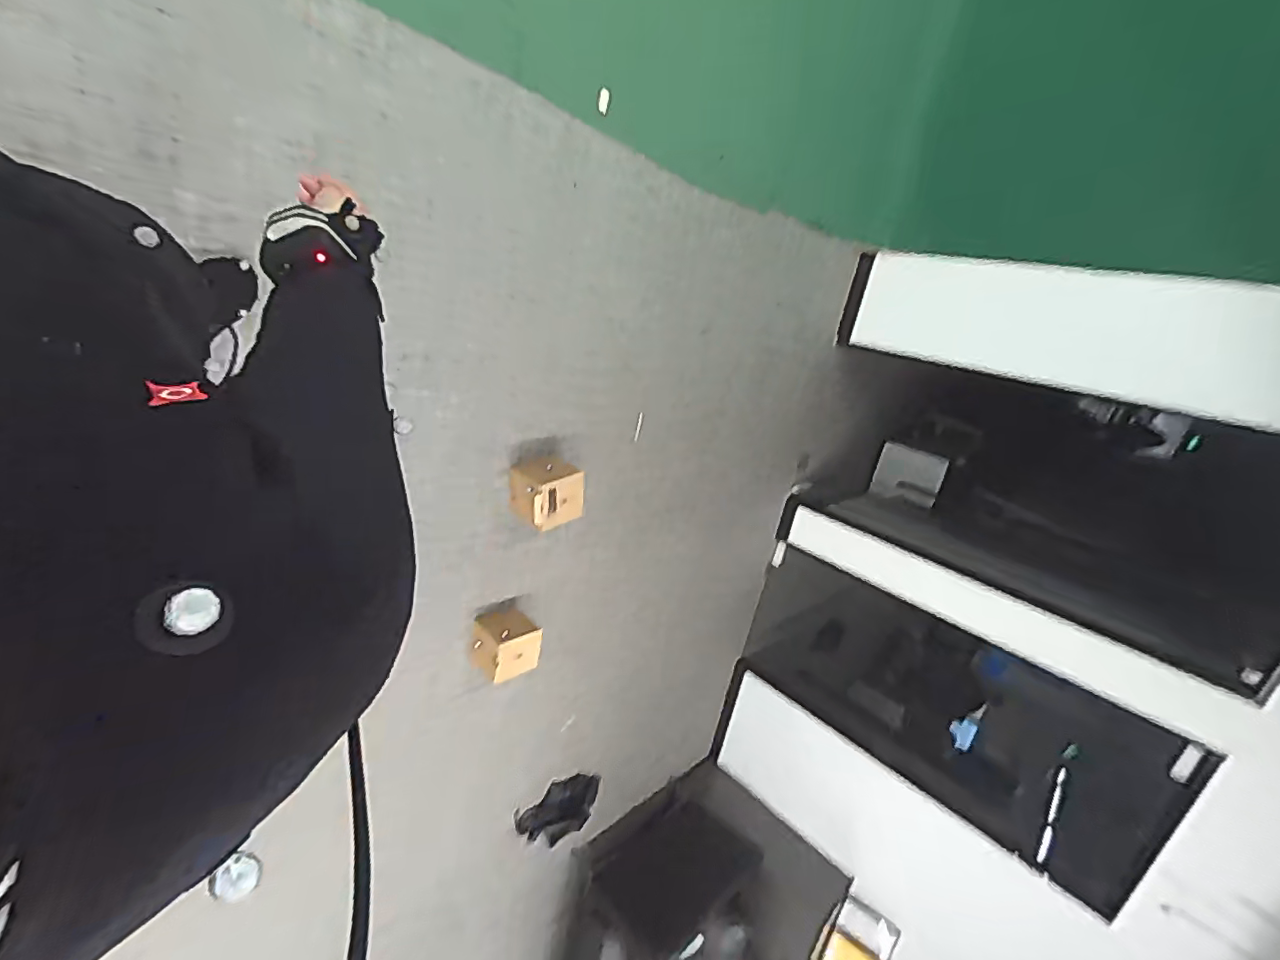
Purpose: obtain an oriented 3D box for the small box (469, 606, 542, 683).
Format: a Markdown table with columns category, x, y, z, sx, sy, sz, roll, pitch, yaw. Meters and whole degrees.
| category | x | y | z | sx | sy | sz | roll | pitch | yaw |
| --- | --- | --- | --- | --- | --- | --- | --- | --- | --- |
| small box | -0.470 | 0.563 | 1.883 | 0.179 | 0.176 | 0.168 | -9 | 118 | -45 |
